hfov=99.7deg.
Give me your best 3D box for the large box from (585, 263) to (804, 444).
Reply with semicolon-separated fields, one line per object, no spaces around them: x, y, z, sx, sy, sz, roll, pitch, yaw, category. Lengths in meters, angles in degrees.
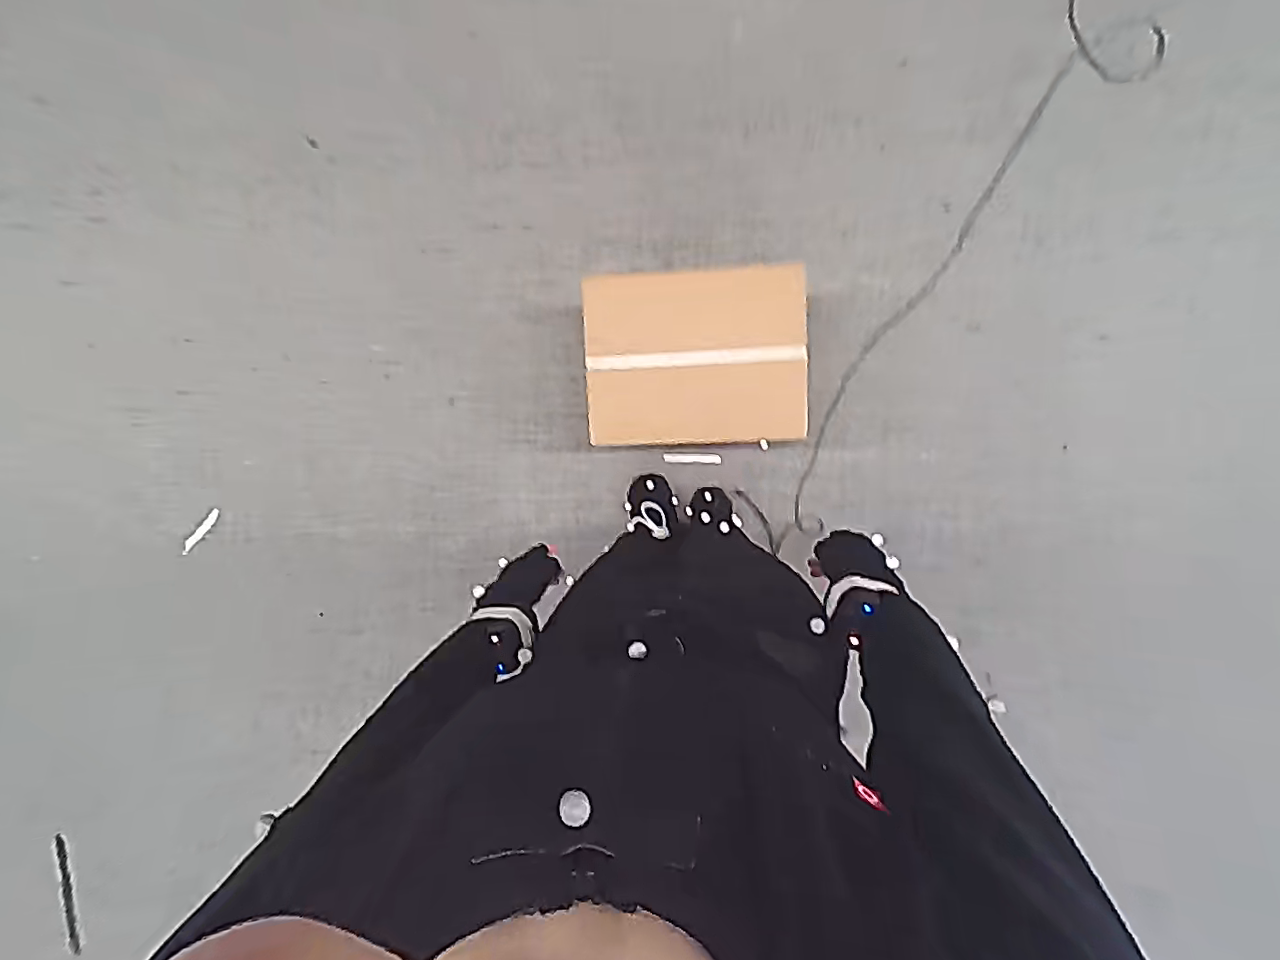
0.116;-0.249;1.156;0.408;0.320;0.320;-2;96;6;large box
